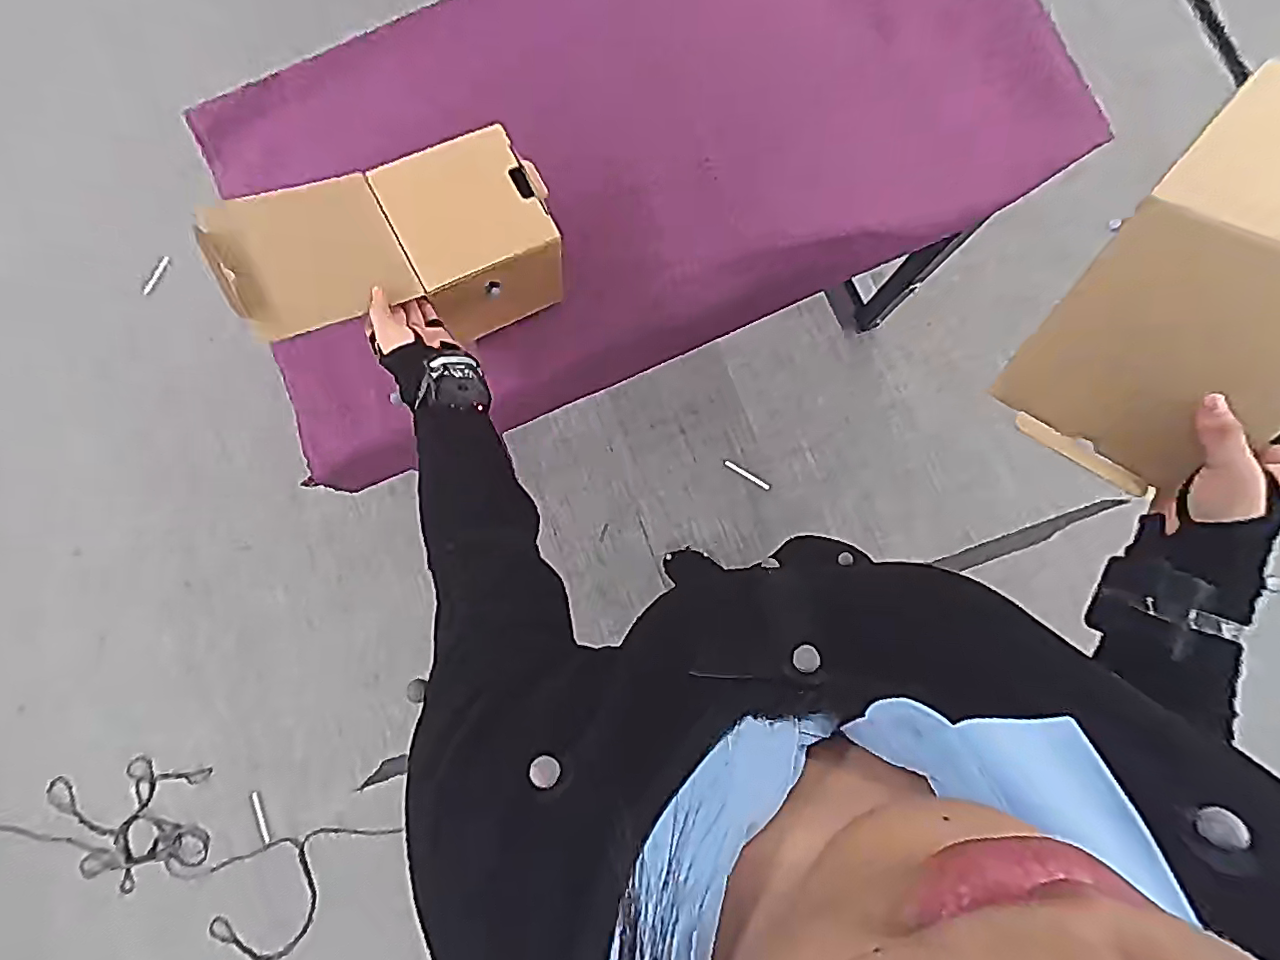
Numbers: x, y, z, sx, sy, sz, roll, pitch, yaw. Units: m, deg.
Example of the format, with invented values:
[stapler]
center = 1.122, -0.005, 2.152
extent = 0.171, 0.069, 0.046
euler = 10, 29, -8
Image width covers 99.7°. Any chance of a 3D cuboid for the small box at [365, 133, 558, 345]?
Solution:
[small box]
center = -0.220, -0.303, 0.712
extent = 0.179, 0.176, 0.168
euler = -26, 88, -13
